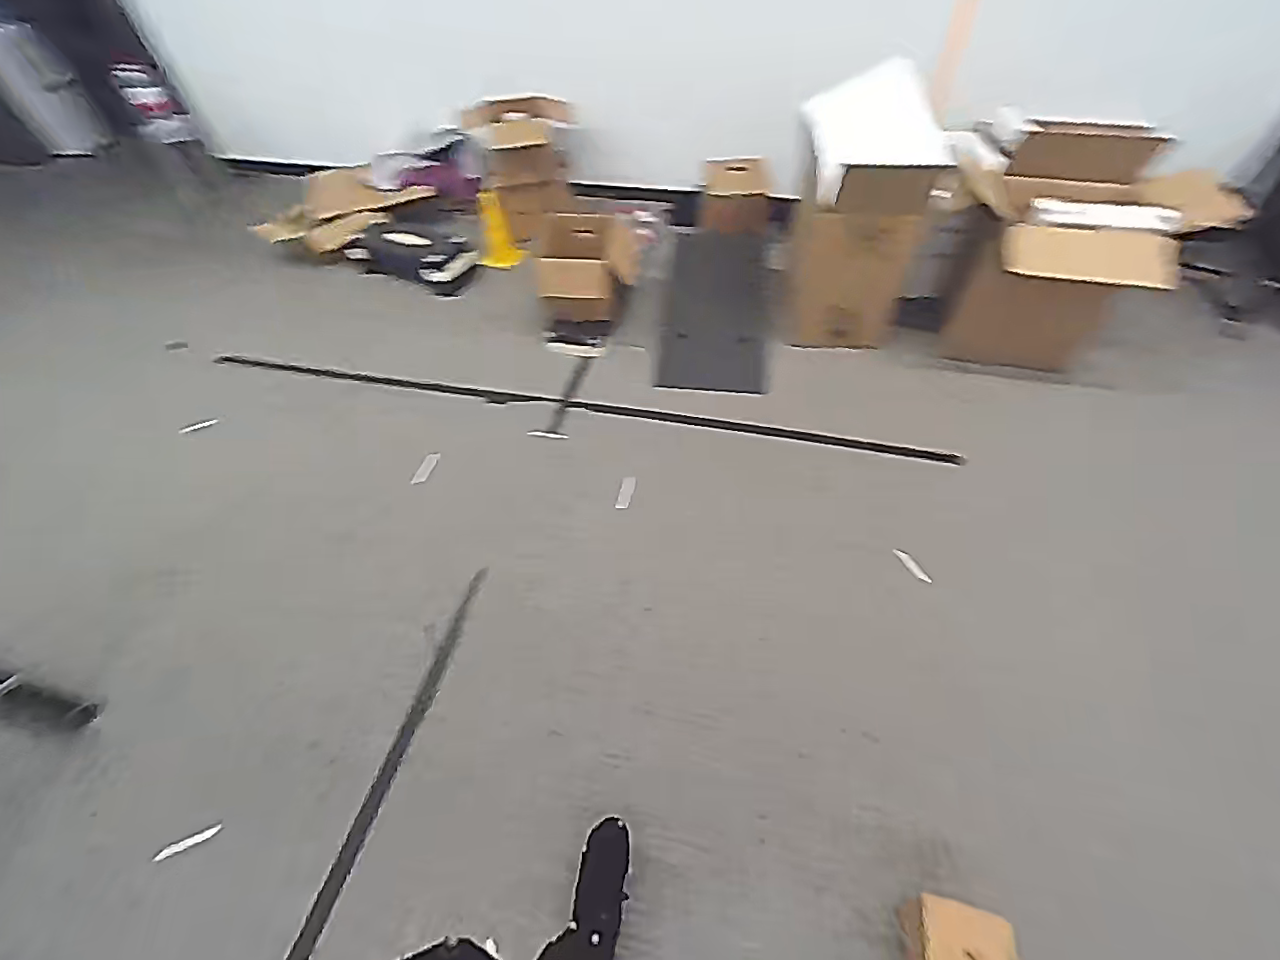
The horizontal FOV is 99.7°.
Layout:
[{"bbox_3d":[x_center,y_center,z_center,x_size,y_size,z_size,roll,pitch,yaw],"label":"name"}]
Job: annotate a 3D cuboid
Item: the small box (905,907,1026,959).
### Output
[{"bbox_3d":[0.671,1.012,1.118,0.179,0.176,0.168,11,51,11],"label":"small box"}]
